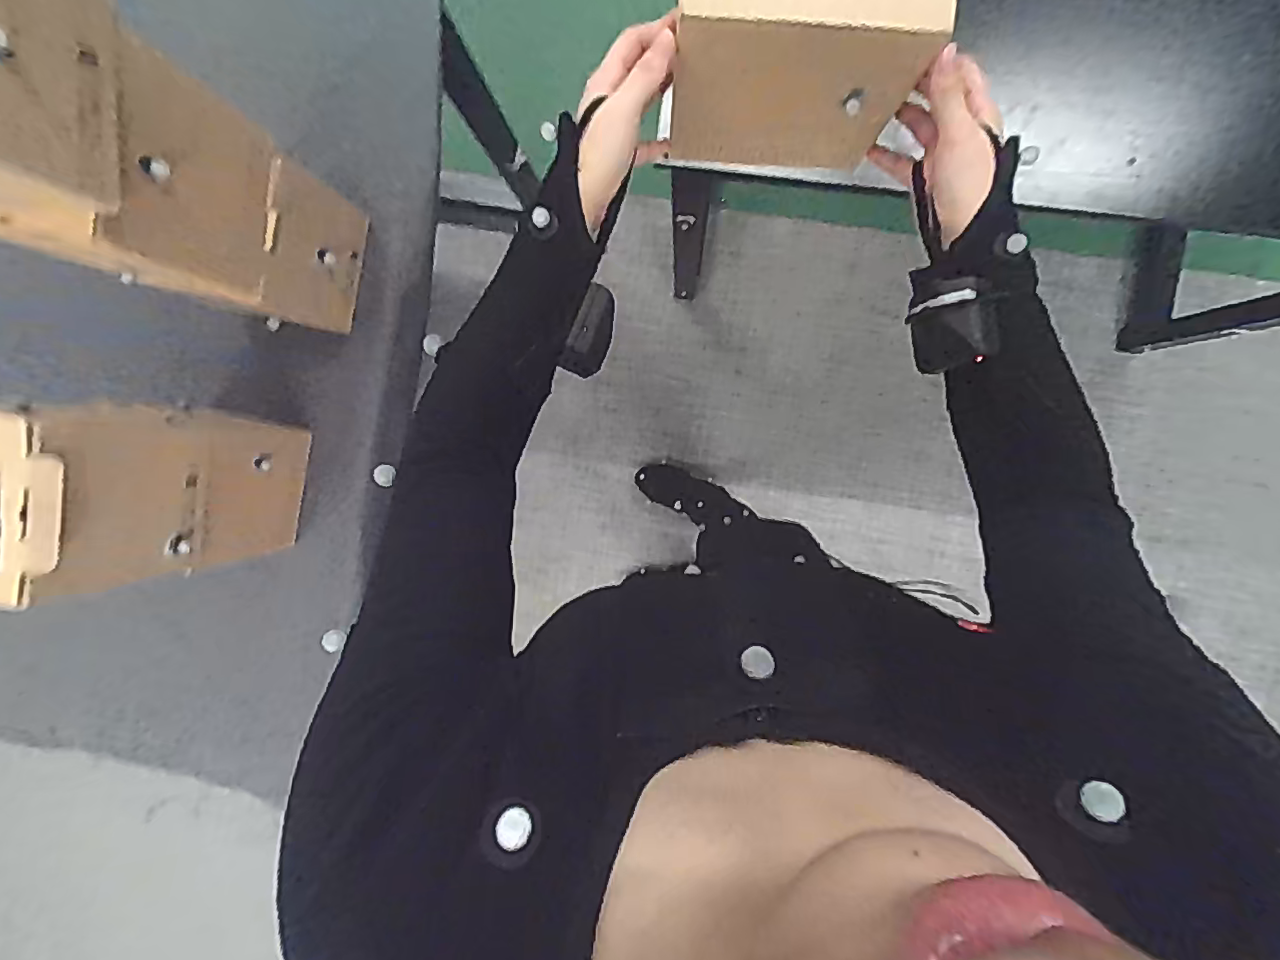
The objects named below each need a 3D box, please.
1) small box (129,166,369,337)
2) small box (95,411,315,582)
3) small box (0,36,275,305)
[{"bbox_3d":[-0.477,-0.287,0.684,0.179,0.176,0.168,12,95,5],"label":"small box"},{"bbox_3d":[-0.566,0.014,0.713,0.168,0.176,0.179,12,95,6],"label":"small box"},{"bbox_3d":[-0.492,-0.287,0.521,0.168,0.176,0.179,10,95,5],"label":"small box"}]
